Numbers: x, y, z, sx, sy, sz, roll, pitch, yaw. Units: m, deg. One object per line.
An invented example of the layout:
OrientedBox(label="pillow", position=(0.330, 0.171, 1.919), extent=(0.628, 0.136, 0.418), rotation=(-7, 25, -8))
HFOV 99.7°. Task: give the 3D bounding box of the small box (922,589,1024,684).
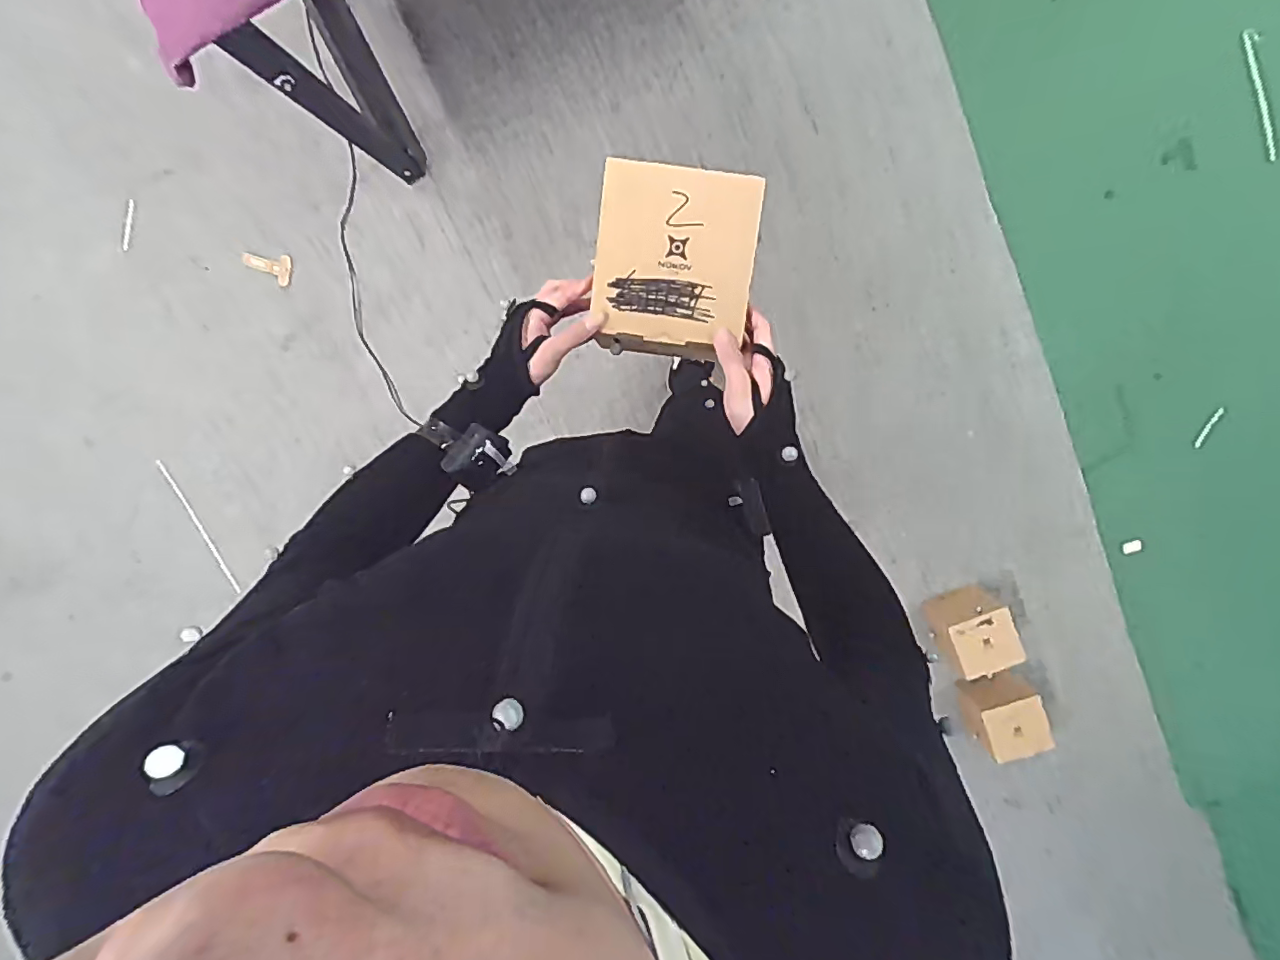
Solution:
OrientedBox(label="small box", position=(0.945, 0.441, 1.544), extent=(0.168, 0.176, 0.179), rotation=(-23, 99, 7))
